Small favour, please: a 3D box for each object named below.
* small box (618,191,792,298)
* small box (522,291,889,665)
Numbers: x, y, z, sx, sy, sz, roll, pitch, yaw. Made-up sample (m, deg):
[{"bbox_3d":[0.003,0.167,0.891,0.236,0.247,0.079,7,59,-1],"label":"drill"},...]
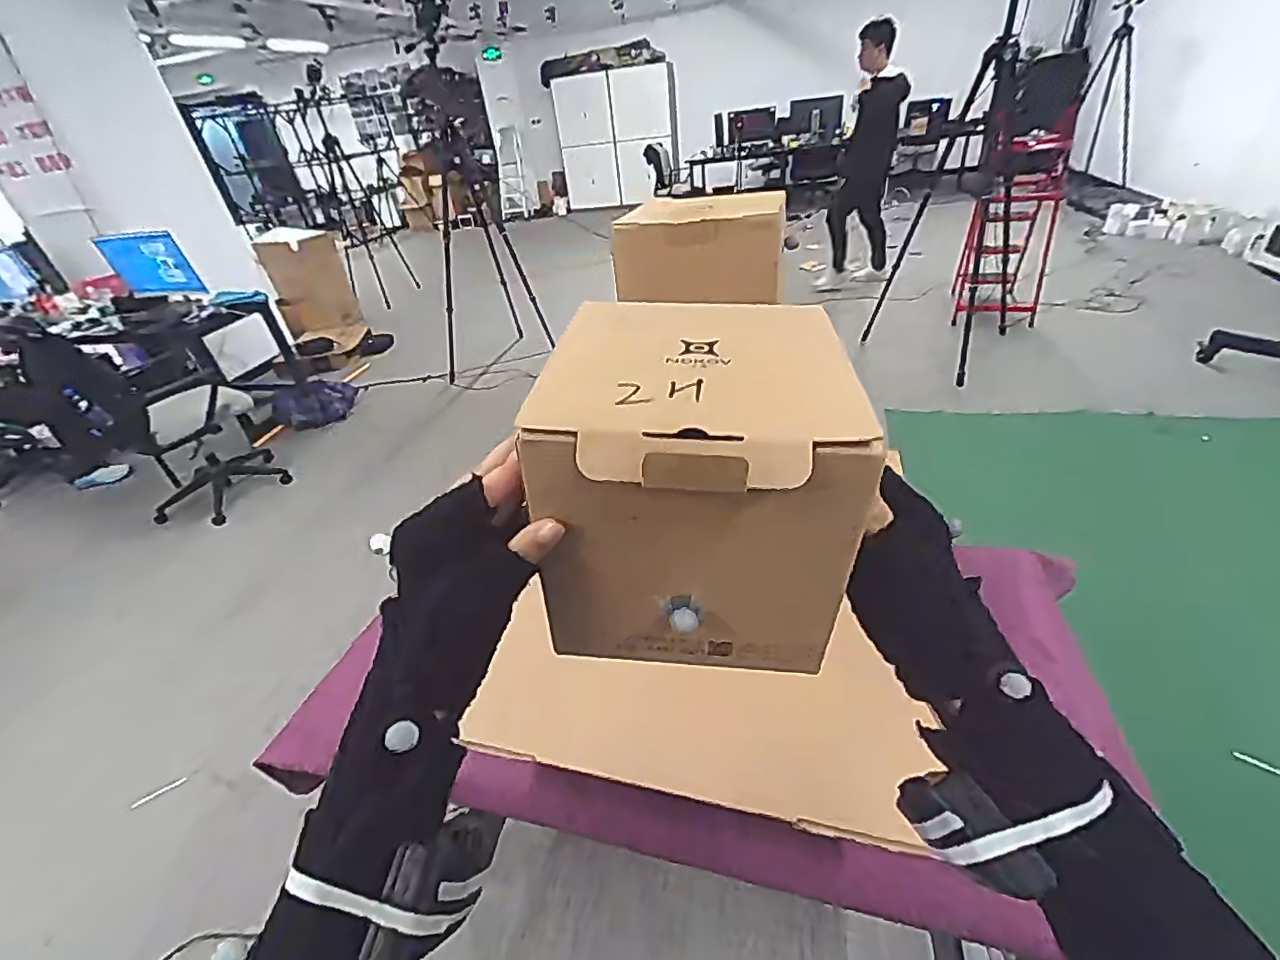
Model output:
[{"bbox_3d":[0.081,-0.225,0.620,0.168,0.176,0.179,4,35,14],"label":"small box"},{"bbox_3d":[0.037,-0.010,0.351,0.168,0.176,0.179,3,38,6],"label":"small box"}]
